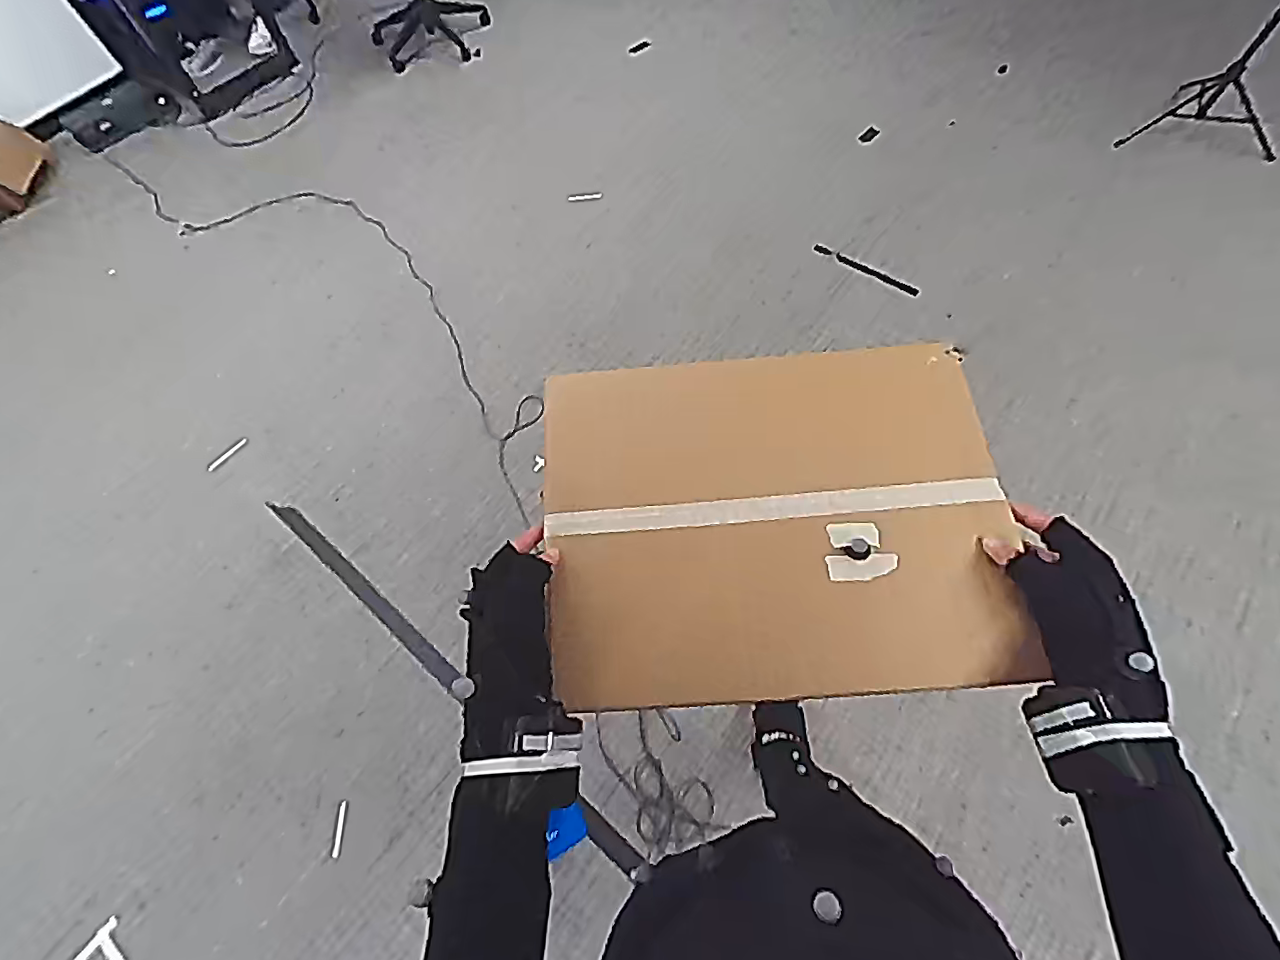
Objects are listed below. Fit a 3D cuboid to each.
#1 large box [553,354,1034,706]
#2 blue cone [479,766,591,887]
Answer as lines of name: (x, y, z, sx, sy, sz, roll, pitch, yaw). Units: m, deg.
large box: (0.124, 0.084, 0.640, 0.408, 0.320, 0.320, -4, 69, 2)
blue cone: (-0.245, 0.710, 1.091, 0.193, 0.380, 0.192, -30, 64, -8)
